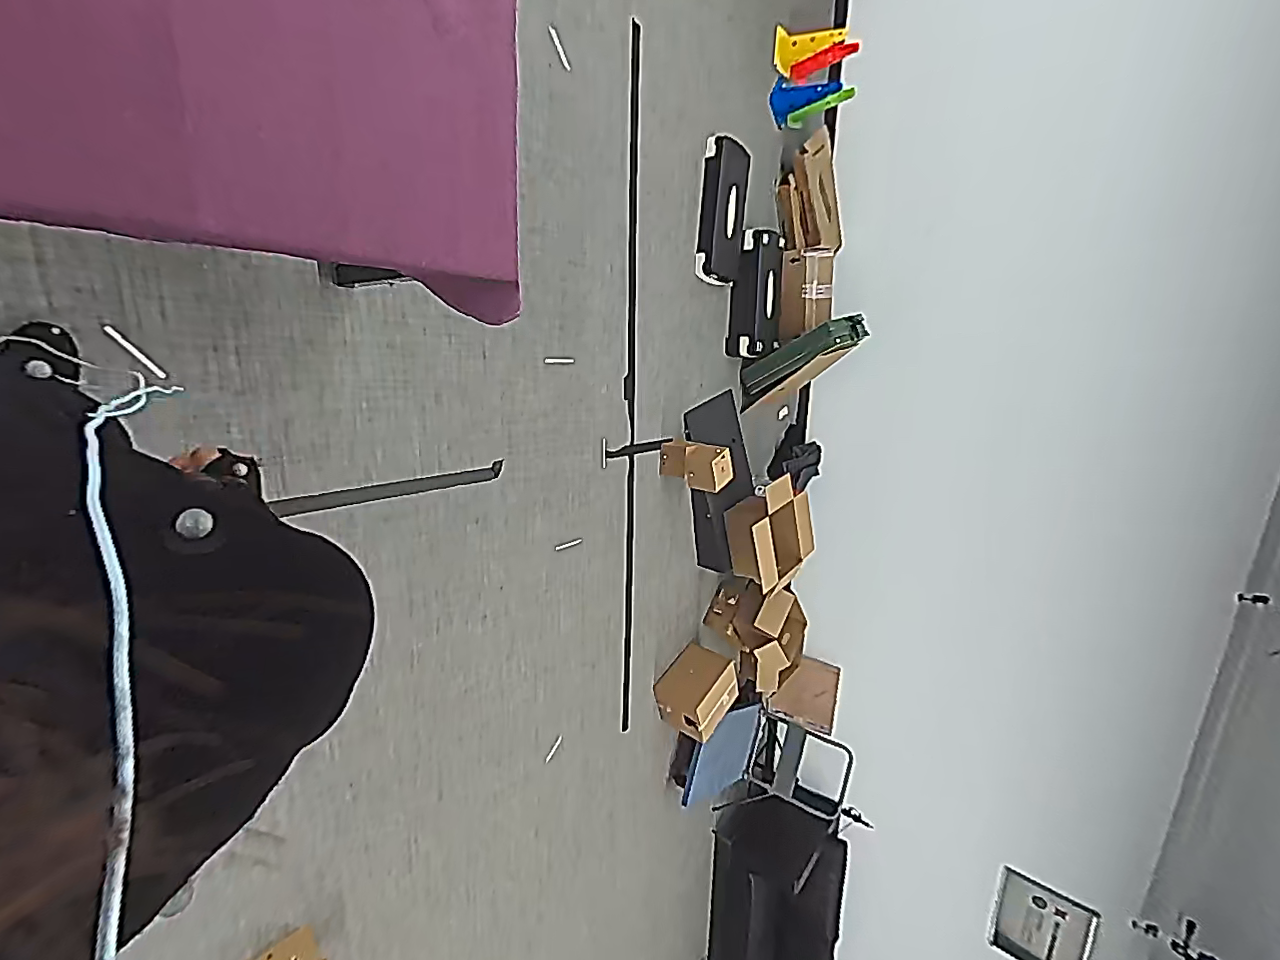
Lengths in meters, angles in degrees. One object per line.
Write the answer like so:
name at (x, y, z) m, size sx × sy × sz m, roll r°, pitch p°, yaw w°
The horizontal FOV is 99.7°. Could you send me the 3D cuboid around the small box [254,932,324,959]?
small box at (-1.093, 1.556, 1.668) m, size 0.168 × 0.176 × 0.179 m, roll -13°, pitch 111°, yaw -50°
